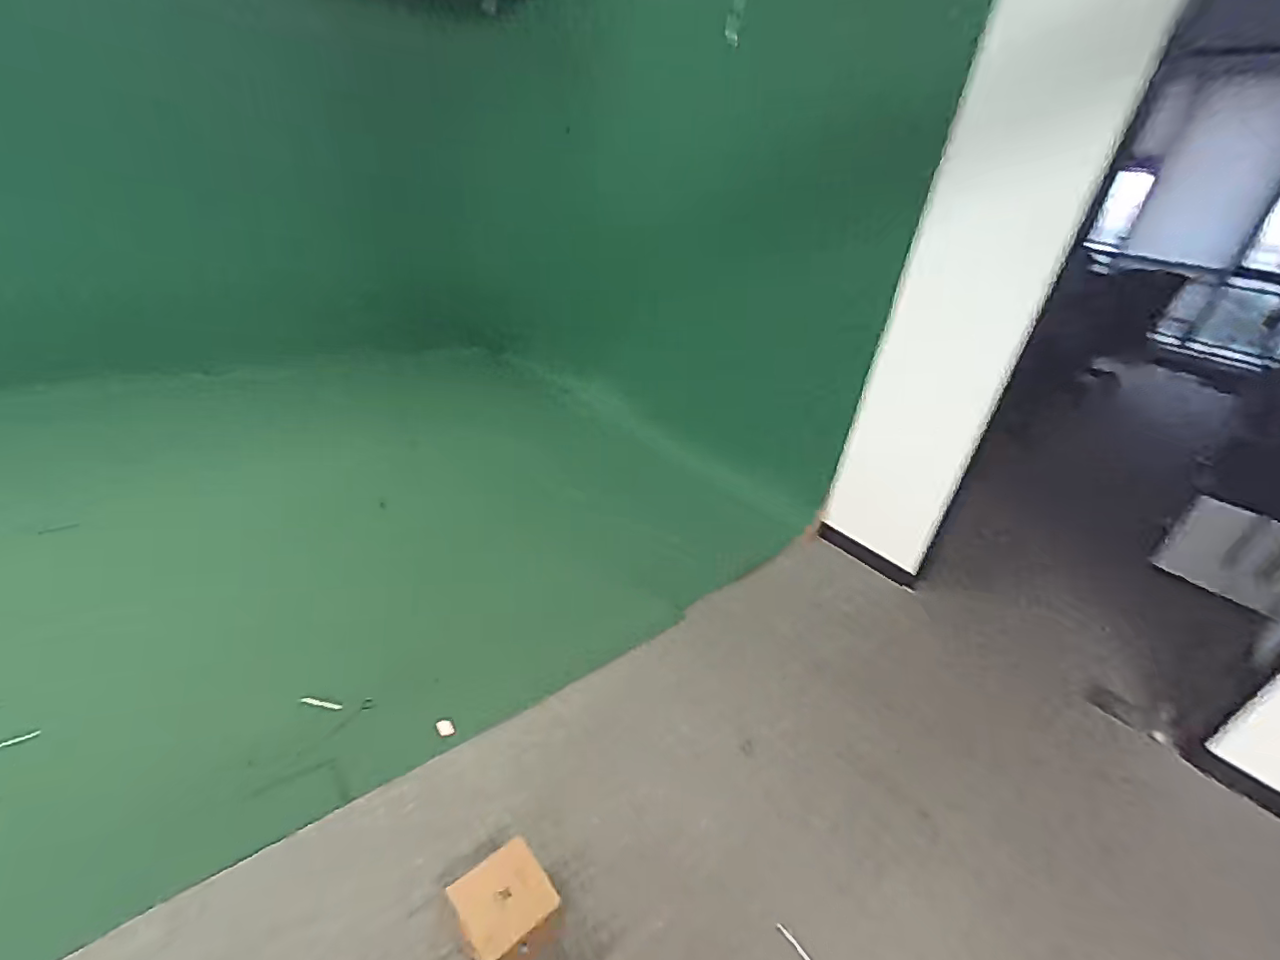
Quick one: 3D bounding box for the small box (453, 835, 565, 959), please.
[{"bbox_3d":[-0.276,0.917,1.146,0.179,0.176,0.168,-19,40,-37],"label":"small box"}]
